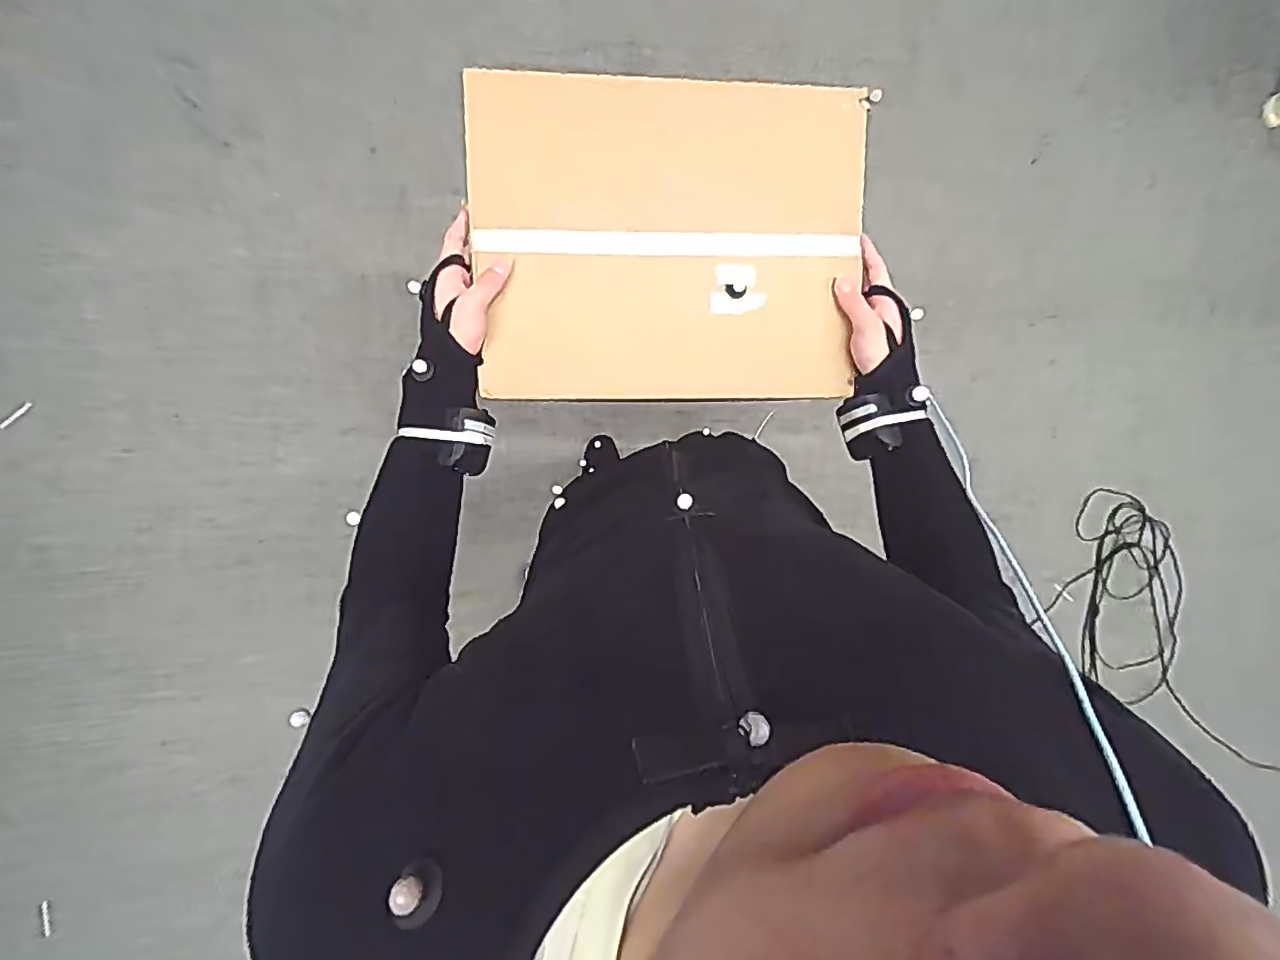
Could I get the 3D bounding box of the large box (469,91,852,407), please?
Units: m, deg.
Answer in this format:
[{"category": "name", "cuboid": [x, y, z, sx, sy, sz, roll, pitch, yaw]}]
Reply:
[{"category": "large box", "cuboid": [0.016, -0.260, 0.719, 0.408, 0.320, 0.320, -2, 98, -6]}]
